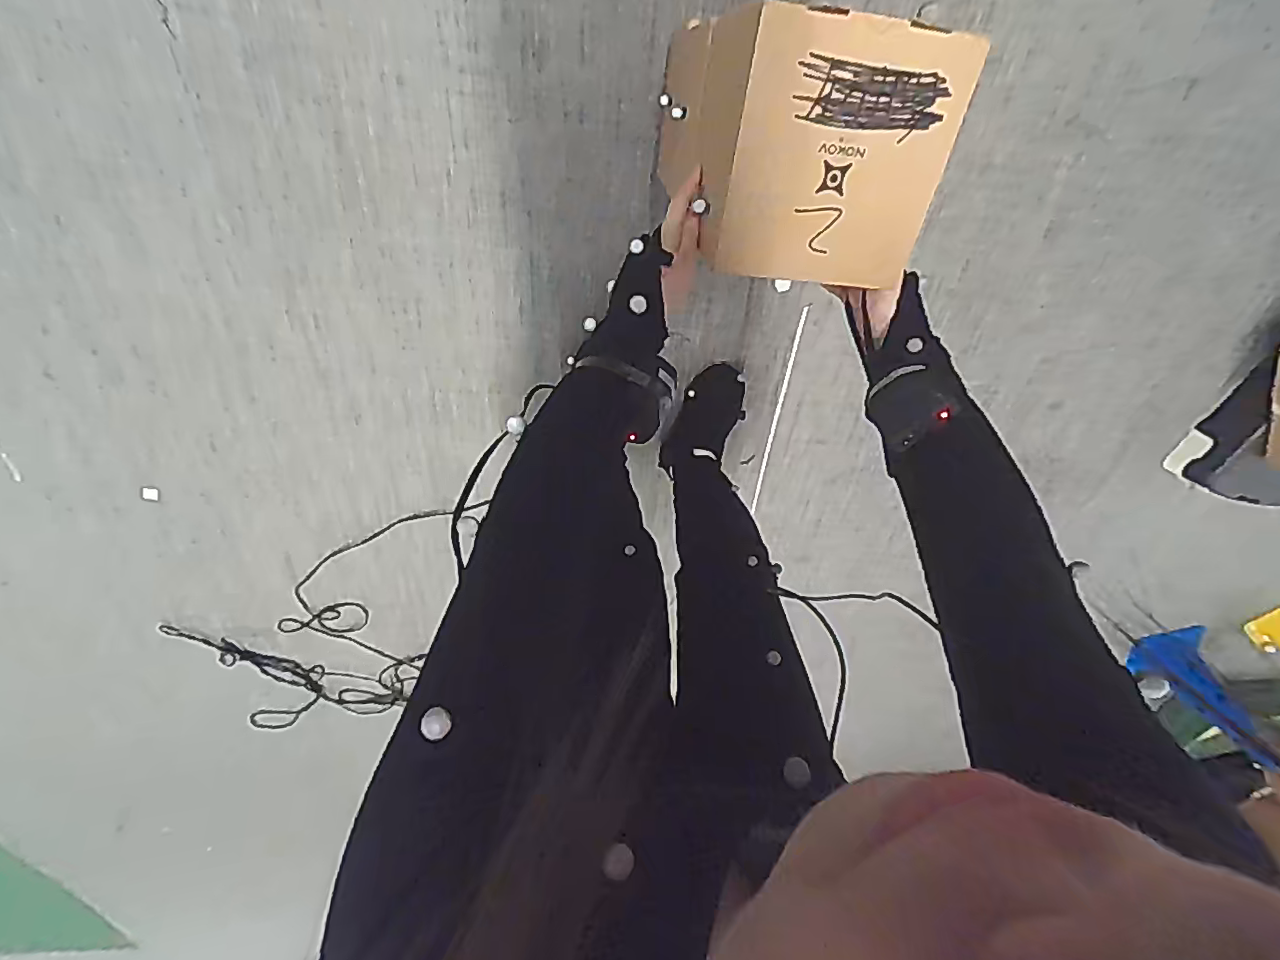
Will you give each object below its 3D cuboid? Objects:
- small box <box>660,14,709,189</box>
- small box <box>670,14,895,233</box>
[{"bbox_3d":[0.122,-0.491,0.723,0.168,0.176,0.179,3,126,-7],"label":"small box"},{"bbox_3d":[0.134,-0.387,0.596,0.179,0.176,0.168,3,128,-7],"label":"small box"}]
